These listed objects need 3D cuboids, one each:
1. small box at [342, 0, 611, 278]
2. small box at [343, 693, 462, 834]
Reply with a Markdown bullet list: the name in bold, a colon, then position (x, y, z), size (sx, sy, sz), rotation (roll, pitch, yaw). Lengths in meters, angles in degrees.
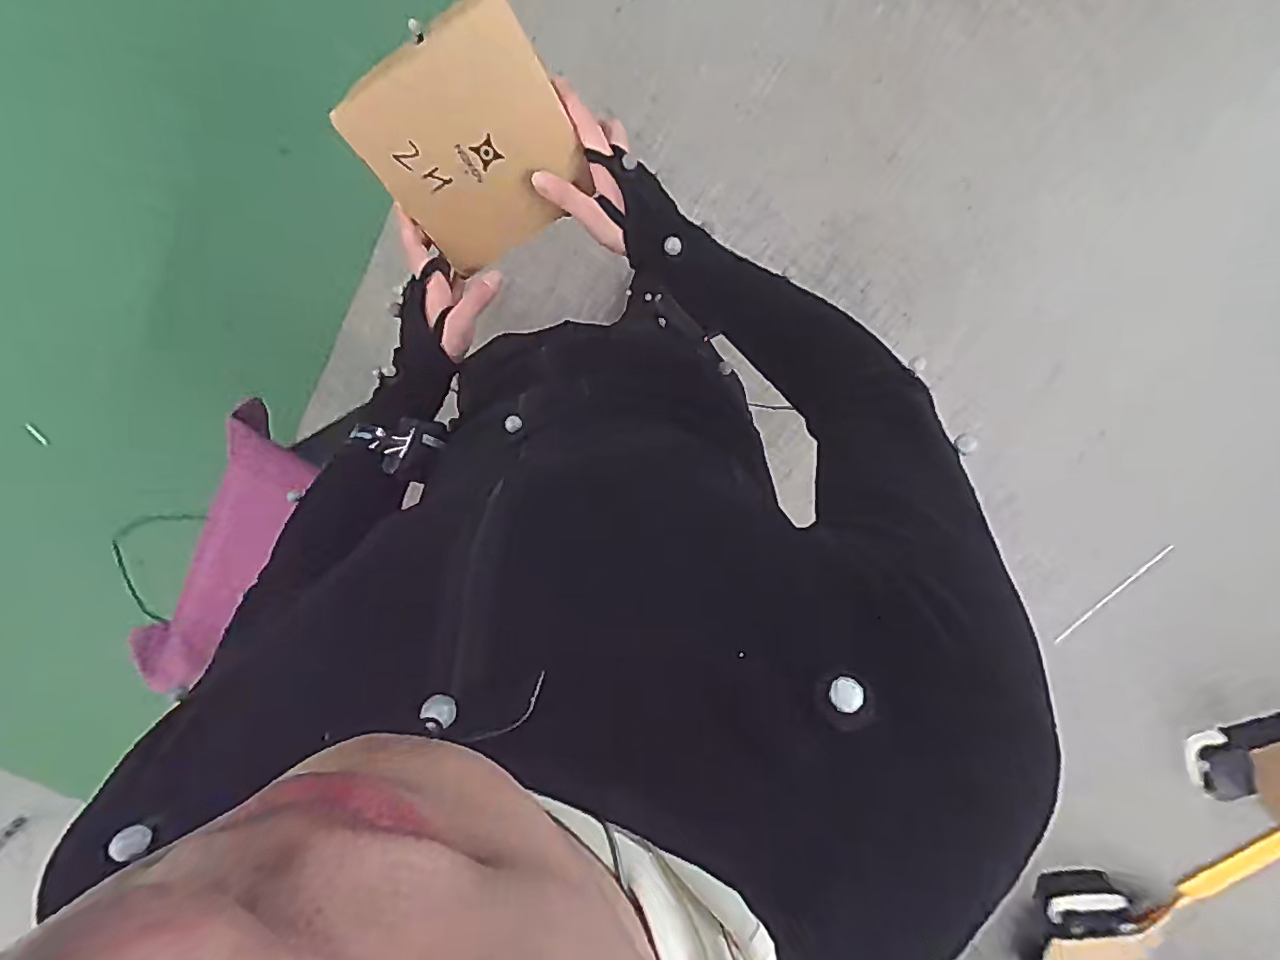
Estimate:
- **small box**: position (-0.152, -0.344, 0.533), size (0.179, 0.176, 0.168), rotation (-26, 135, 11)
- **small box**: position (-0.464, 0.557, 1.076), size (0.168, 0.176, 0.179), rotation (13, 114, -4)
